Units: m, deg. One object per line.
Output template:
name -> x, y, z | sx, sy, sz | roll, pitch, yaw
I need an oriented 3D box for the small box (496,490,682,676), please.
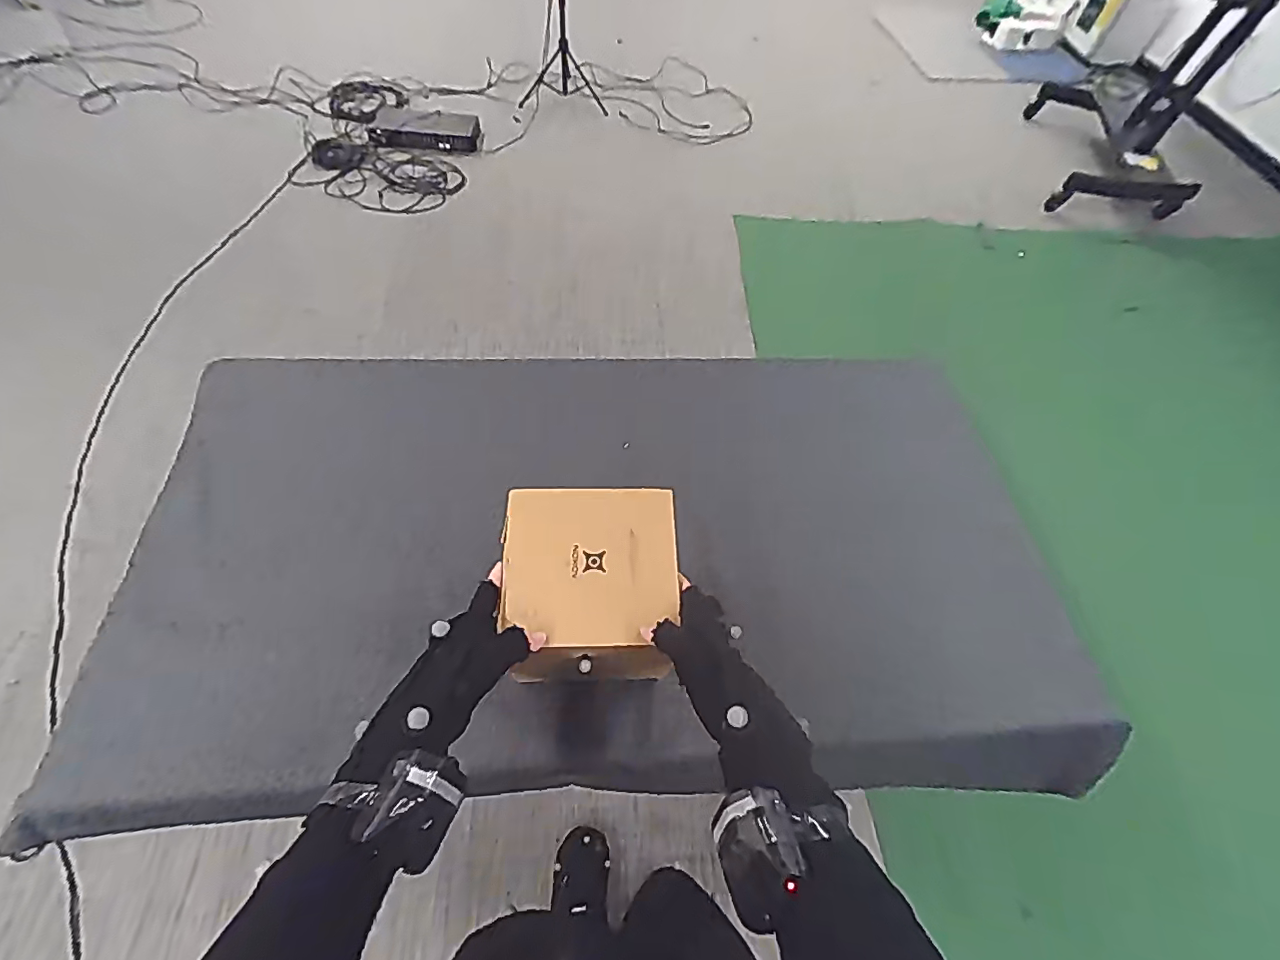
small box -> -0.055, 0.122, 0.609 | 0.179, 0.176, 0.168 | 0, 62, -6
